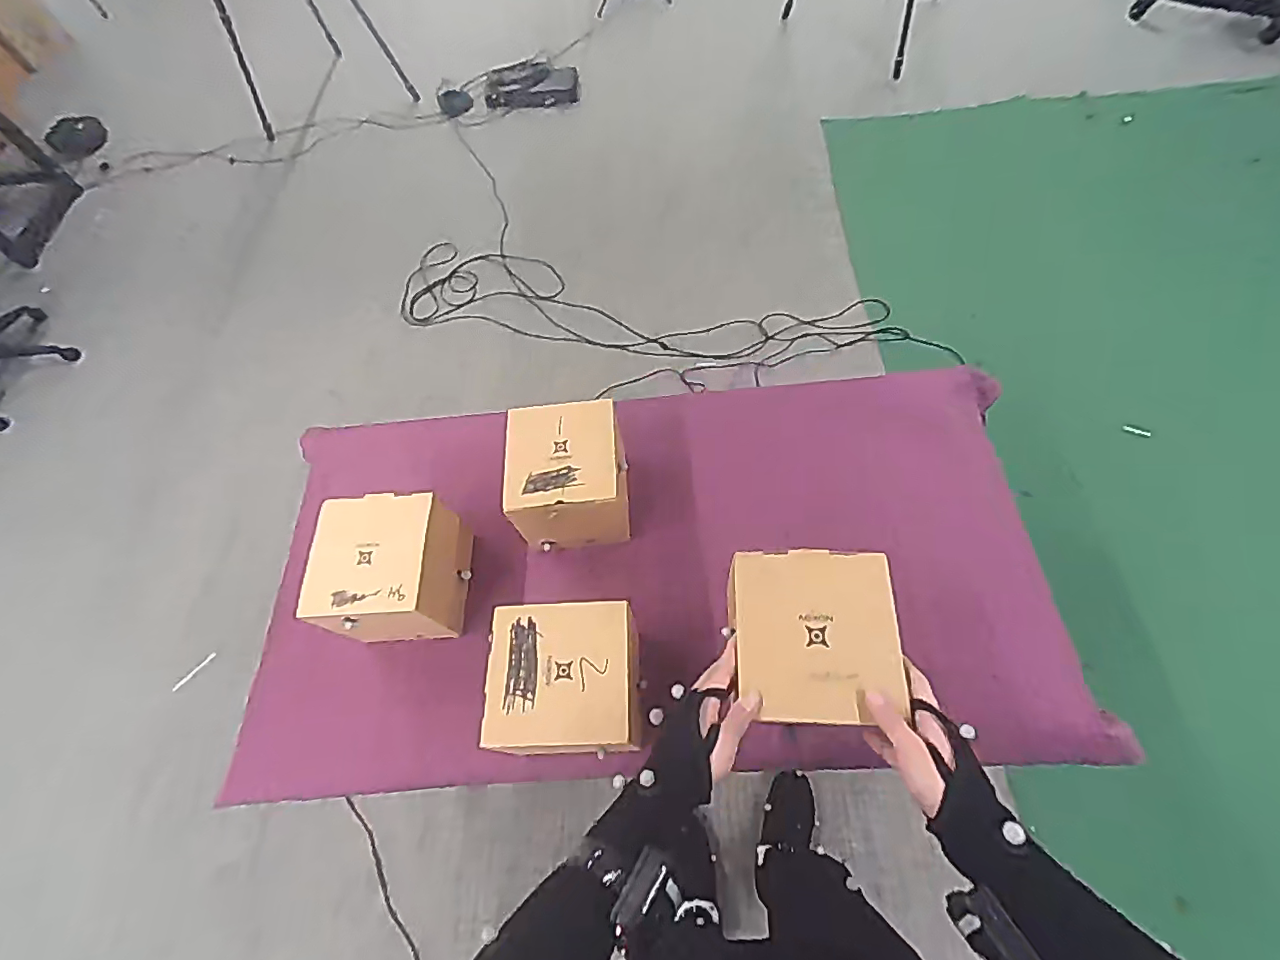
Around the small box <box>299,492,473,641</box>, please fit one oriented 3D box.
[{"bbox_3d":[-0.366,0.136,0.820,0.168,0.176,0.179,-5,62,5],"label":"small box"}]

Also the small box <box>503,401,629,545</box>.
[{"bbox_3d":[-0.109,-0.002,0.867,0.168,0.176,0.179,-5,61,3],"label":"small box"}]

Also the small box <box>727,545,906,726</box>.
[{"bbox_3d":[0.189,0.187,0.637,0.168,0.176,0.179,0,65,7],"label":"small box"}]
